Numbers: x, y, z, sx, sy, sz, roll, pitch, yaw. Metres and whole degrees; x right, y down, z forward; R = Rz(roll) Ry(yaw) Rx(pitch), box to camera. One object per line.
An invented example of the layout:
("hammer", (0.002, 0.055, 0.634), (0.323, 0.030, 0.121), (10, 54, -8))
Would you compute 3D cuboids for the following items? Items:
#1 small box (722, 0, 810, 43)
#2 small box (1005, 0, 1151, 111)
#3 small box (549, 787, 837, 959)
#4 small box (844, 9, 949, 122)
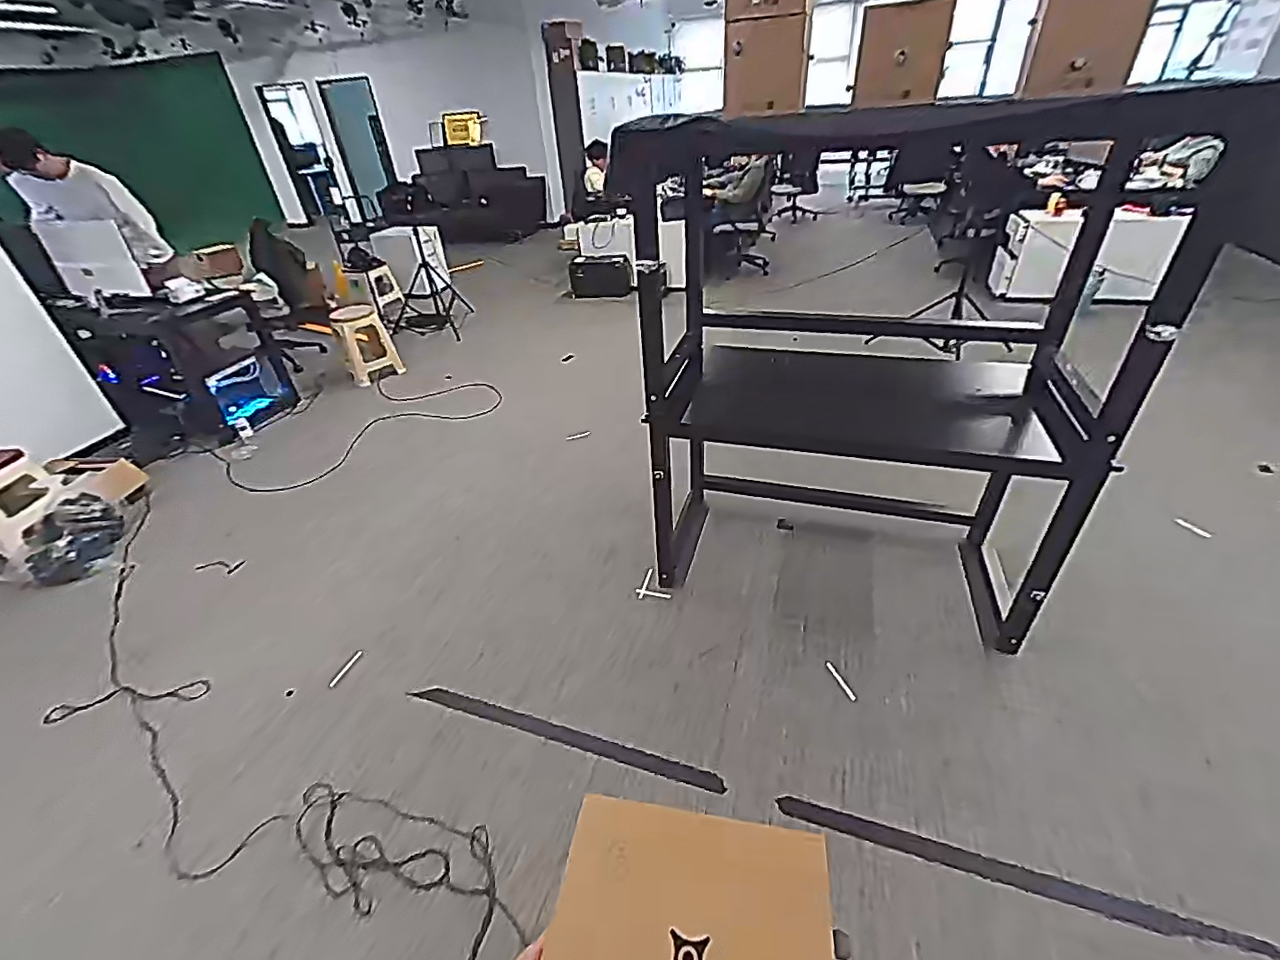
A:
("small box", (0.265, -1.024, 1.119), (0.168, 0.176, 0.179), (7, 35, 17))
("small box", (0.824, -0.813, 1.036), (0.168, 0.176, 0.179), (11, 37, 22))
("small box", (0.032, 0.343, 0.354), (0.168, 0.176, 0.179), (4, 35, 11))
("small box", (0.527, -0.856, 1.131), (0.168, 0.176, 0.179), (9, 35, 17))
